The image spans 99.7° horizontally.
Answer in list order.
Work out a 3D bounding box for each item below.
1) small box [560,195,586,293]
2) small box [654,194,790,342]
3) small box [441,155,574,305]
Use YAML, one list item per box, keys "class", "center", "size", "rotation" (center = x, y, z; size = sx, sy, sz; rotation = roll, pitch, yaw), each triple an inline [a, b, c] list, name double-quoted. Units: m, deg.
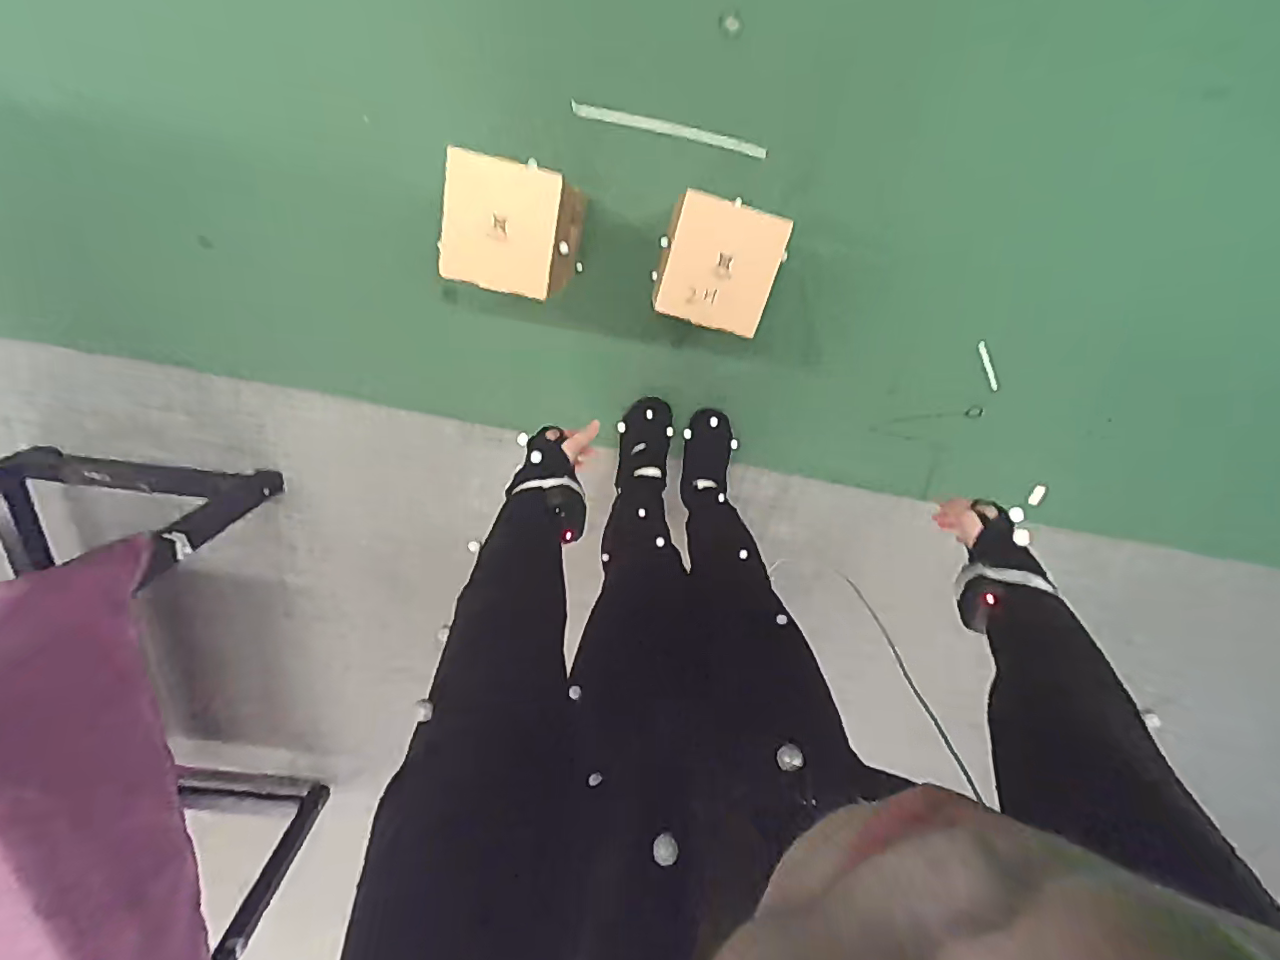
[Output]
- class: "small box"
  center: [-0.205, -0.465, 1.026]
  size: [0.179, 0.176, 0.168]
  rotation: [12, 112, -3]
- class: "small box"
  center: [0.122, -0.347, 0.892]
  size: [0.168, 0.176, 0.179]
  rotation: [15, 113, -6]
- class: "small box"
  center: [-0.207, -0.398, 0.877]
  size: [0.168, 0.176, 0.179]
  rotation: [12, 113, -4]
